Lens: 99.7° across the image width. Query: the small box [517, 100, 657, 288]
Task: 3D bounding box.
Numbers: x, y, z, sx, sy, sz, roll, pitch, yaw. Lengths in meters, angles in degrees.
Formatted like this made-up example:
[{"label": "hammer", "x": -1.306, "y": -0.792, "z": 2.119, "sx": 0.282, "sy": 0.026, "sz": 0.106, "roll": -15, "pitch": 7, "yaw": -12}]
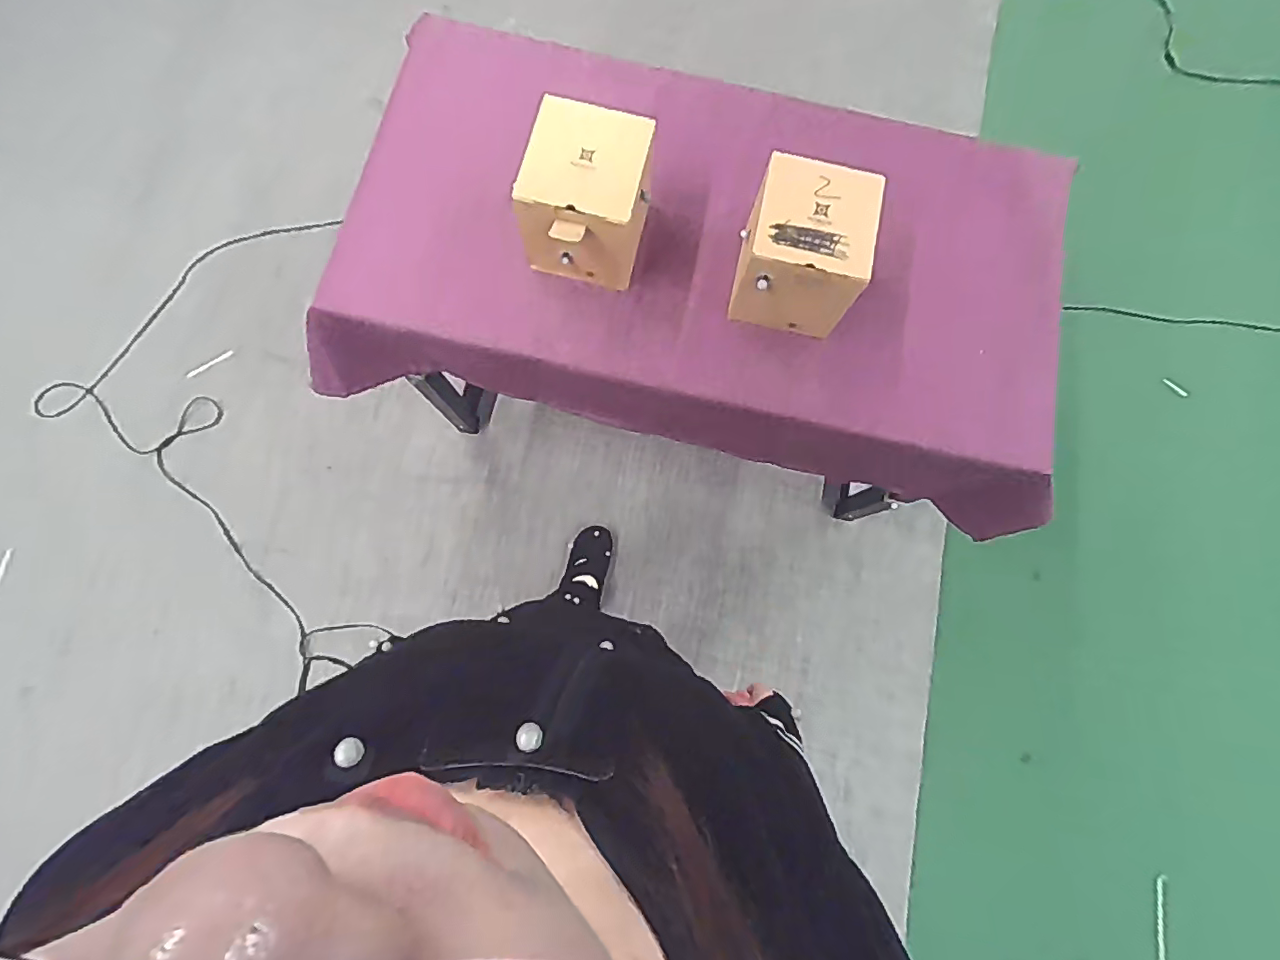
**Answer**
[{"label": "small box", "x": -0.078, "y": -0.435, "z": 0.845, "sx": 0.168, "sy": 0.176, "sz": 0.179, "roll": 14, "pitch": 79, "yaw": 0}]
